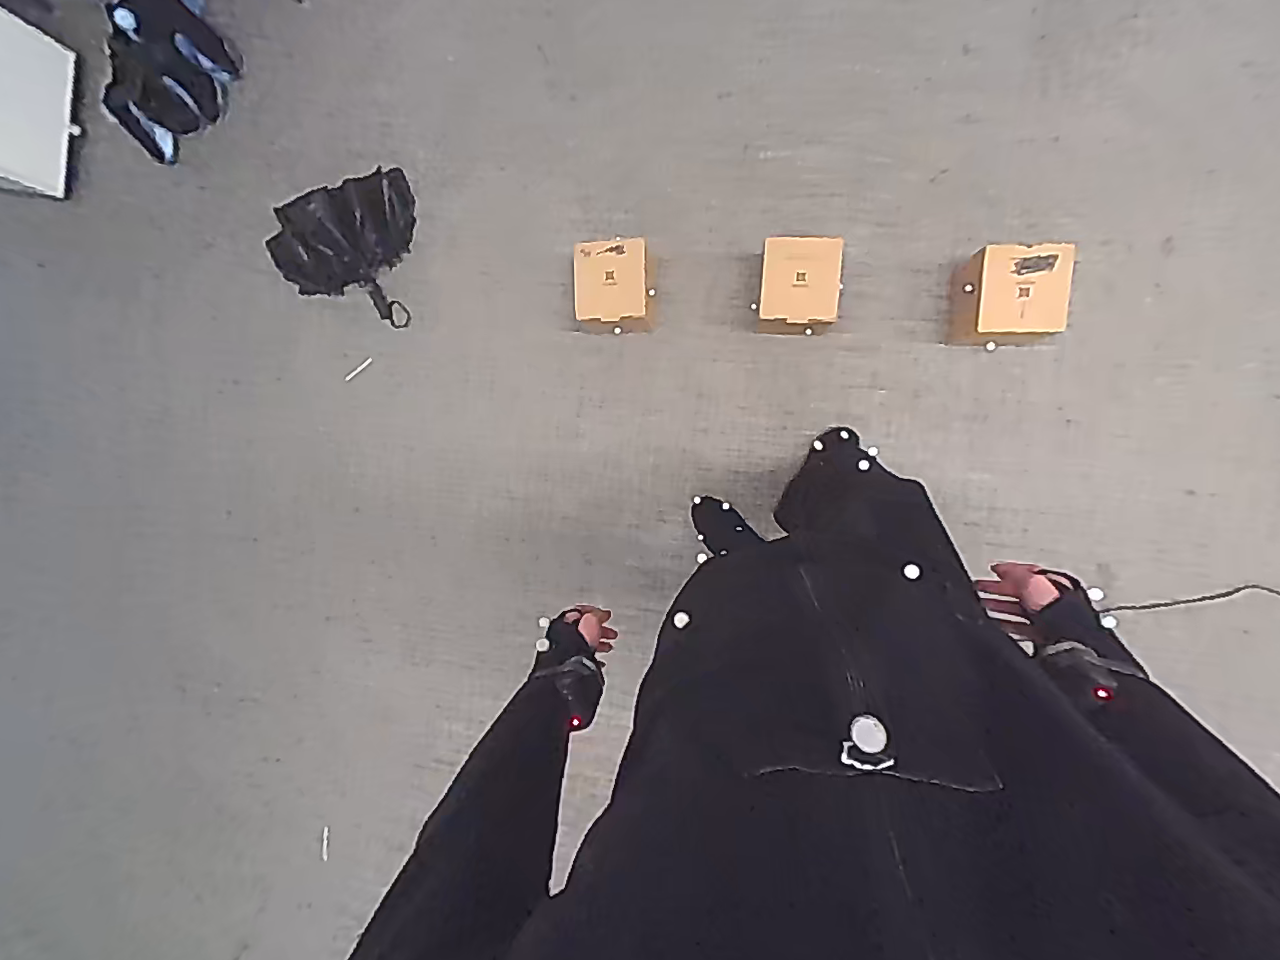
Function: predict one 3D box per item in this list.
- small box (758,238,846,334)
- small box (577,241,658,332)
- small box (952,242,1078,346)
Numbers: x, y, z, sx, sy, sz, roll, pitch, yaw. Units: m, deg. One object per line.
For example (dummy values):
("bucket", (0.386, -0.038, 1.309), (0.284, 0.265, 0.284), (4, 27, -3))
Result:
("small box", (0.363, -0.436, 1.237), (0.168, 0.176, 0.179), (3, 94, 8))
("small box", (-0.048, -0.455, 1.302), (0.168, 0.176, 0.179), (0, 95, 9))
("small box", (0.796, -0.393, 1.165), (0.168, 0.176, 0.179), (2, 95, 10))
